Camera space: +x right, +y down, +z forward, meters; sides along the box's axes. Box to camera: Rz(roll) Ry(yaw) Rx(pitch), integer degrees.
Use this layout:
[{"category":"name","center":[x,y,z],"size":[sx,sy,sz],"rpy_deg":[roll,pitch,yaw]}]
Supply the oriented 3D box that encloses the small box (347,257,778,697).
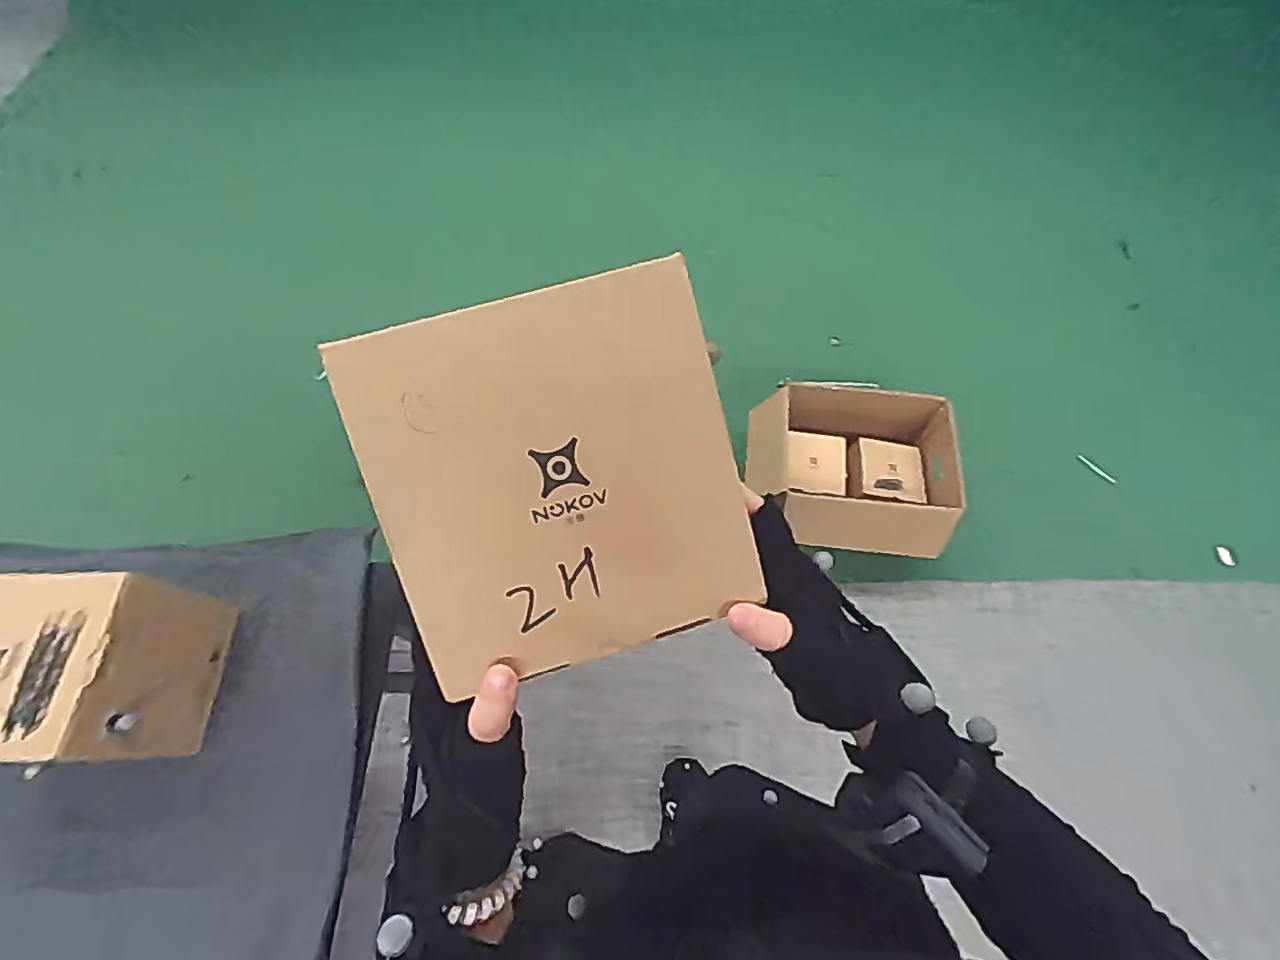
[{"category":"small box","center":[-0.039,-0.008,0.329],"size":[0.168,0.176,0.179],"rpy_deg":[-16,99,-5]}]
